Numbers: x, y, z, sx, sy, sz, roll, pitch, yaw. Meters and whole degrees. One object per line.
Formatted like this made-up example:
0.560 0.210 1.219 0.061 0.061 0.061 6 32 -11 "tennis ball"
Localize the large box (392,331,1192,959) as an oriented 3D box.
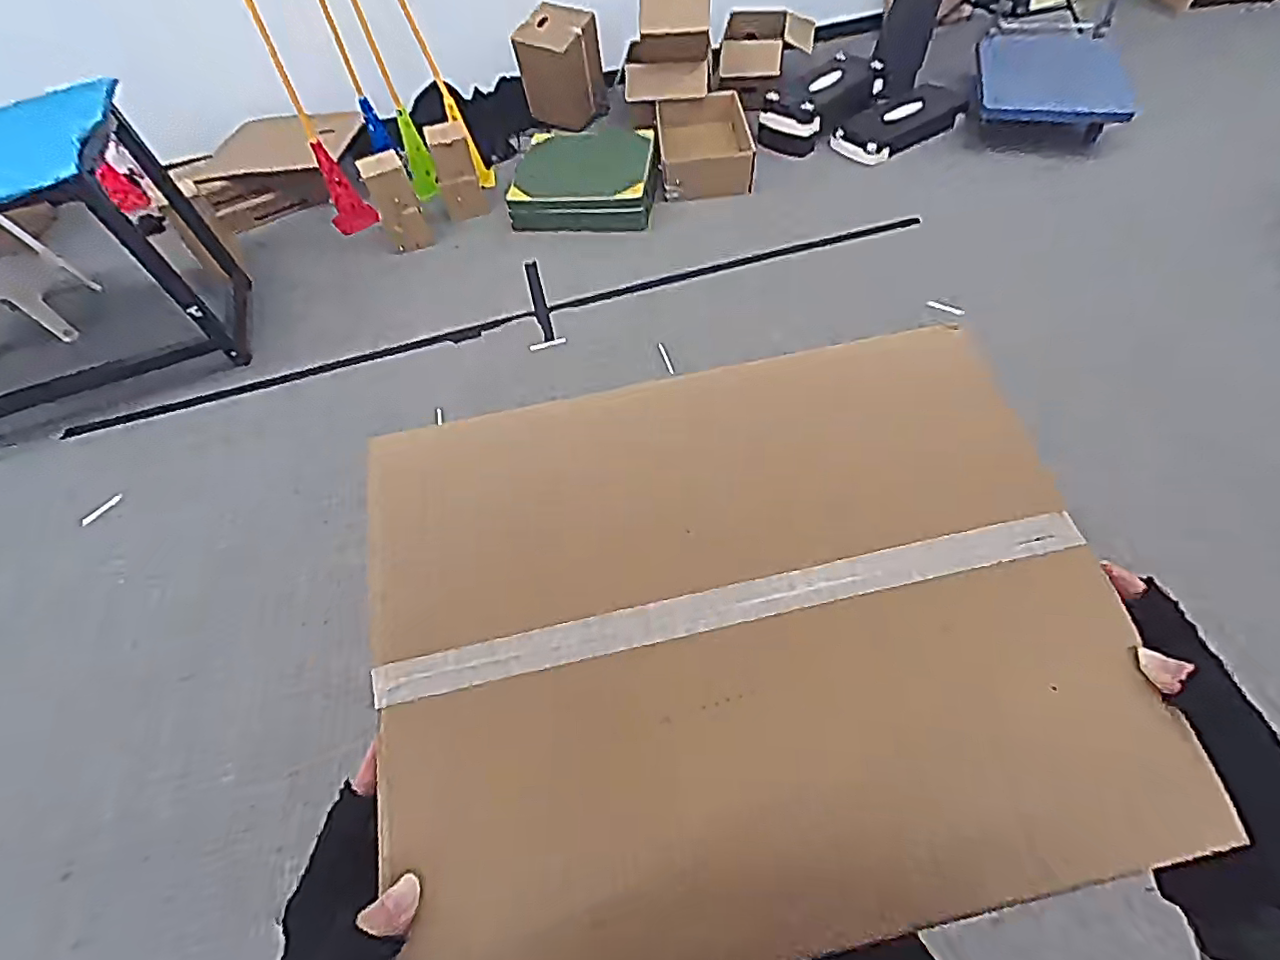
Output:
0.061 0.130 0.457 0.408 0.320 0.320 -13 67 -3 "large box"
